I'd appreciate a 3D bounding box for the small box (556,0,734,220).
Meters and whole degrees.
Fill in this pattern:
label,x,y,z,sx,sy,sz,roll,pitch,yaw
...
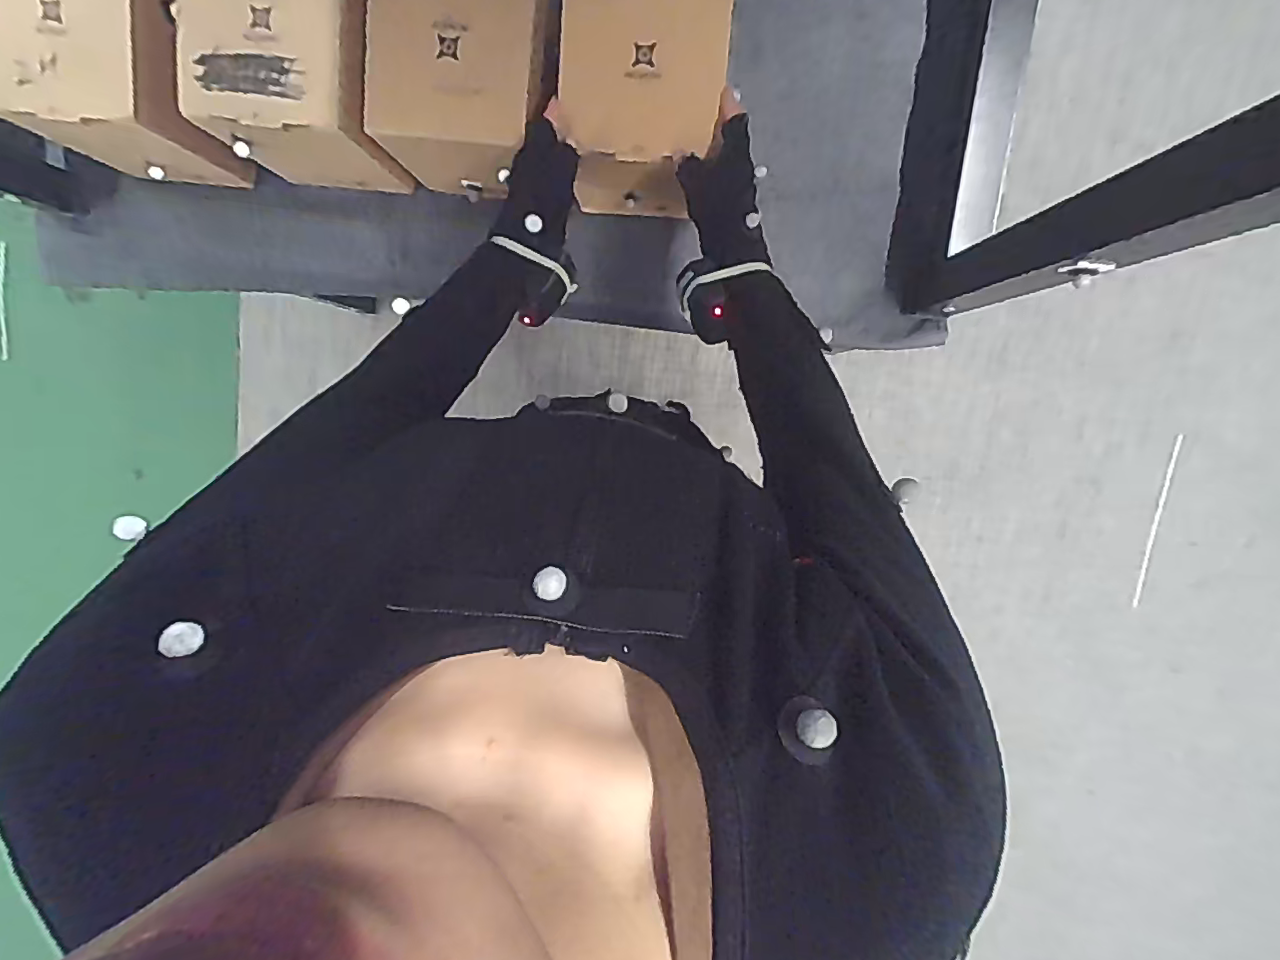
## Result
label,x,y,z,sx,sy,sz,roll,pitch,yaw
small box,0.007,-0.416,0.605,0.168,0.176,0.179,5,98,3

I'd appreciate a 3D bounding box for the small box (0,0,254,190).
label,x,y,z,sx,sy,sz,roll,pitch,yaw
small box,-0.574,-0.459,0.611,0.168,0.176,0.179,5,98,1
